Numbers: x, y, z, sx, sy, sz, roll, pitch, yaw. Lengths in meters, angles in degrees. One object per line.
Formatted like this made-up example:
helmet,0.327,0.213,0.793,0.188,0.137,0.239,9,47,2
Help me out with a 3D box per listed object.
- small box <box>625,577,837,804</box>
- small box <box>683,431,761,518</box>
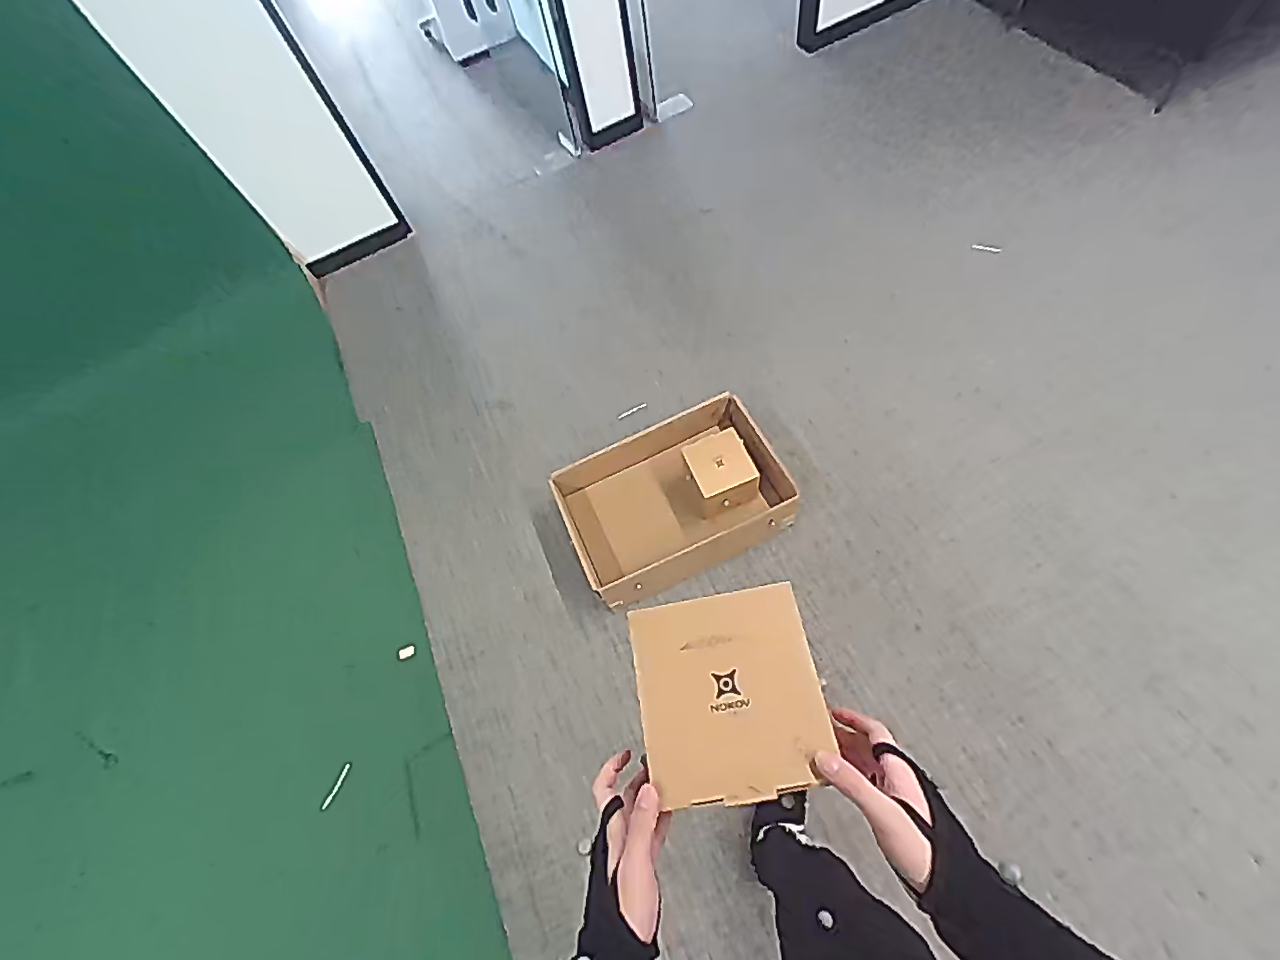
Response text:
small box,0.088,0.222,0.562,0.168,0.176,0.179,-11,60,3
small box,0.240,-0.006,1.567,0.168,0.176,0.179,-22,61,-1
